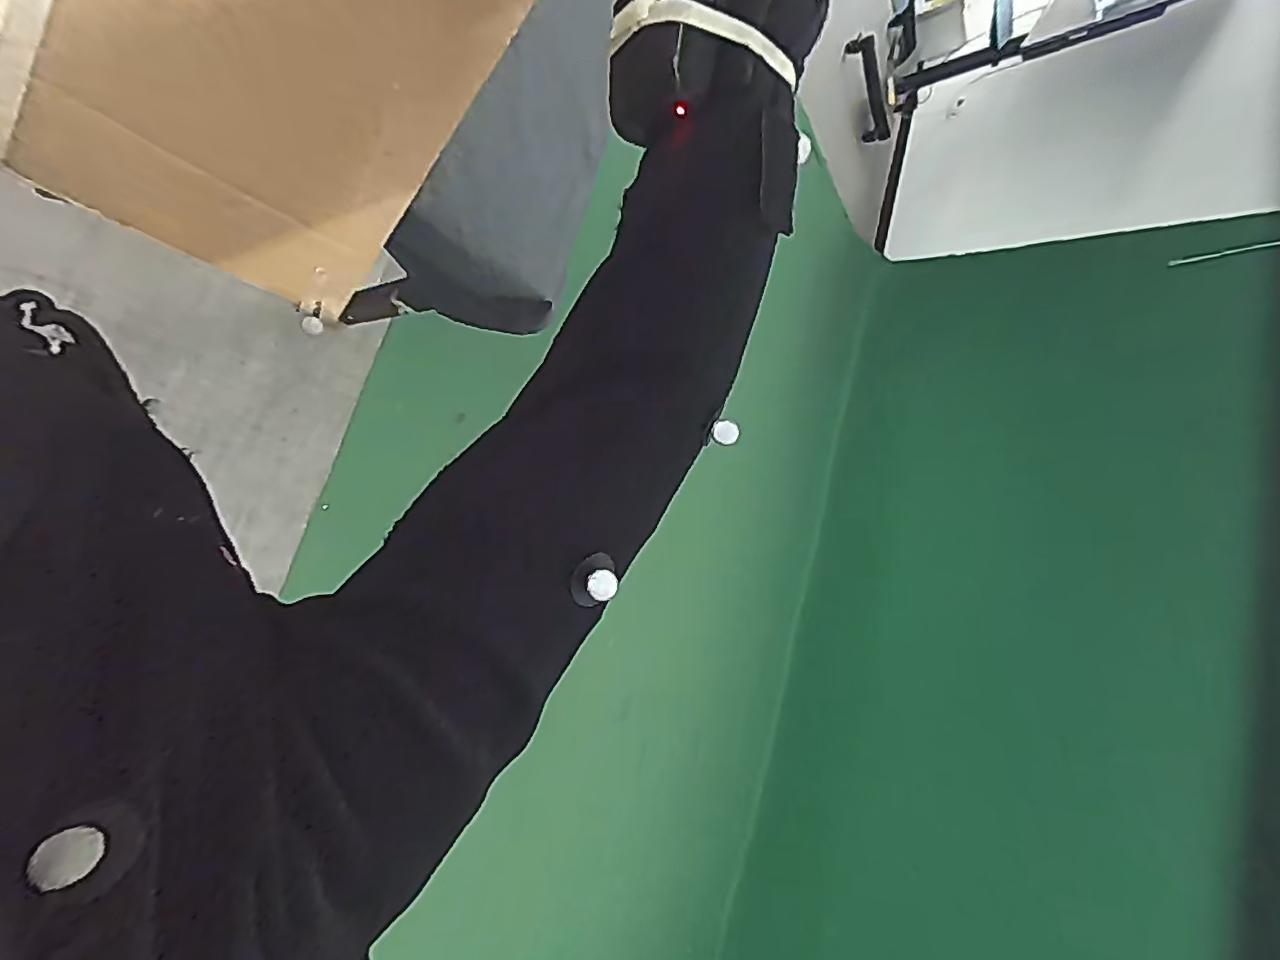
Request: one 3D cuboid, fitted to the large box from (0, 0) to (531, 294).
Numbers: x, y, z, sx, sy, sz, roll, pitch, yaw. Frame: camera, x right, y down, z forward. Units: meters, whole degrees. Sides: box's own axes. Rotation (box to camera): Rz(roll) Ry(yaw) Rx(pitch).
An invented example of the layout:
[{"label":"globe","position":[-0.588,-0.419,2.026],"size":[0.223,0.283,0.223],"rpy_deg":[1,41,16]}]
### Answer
[{"label":"large box","position":[-0.227,-0.399,0.278],"size":[0.408,0.320,0.320],"rpy_deg":[-45,141,20]}]
